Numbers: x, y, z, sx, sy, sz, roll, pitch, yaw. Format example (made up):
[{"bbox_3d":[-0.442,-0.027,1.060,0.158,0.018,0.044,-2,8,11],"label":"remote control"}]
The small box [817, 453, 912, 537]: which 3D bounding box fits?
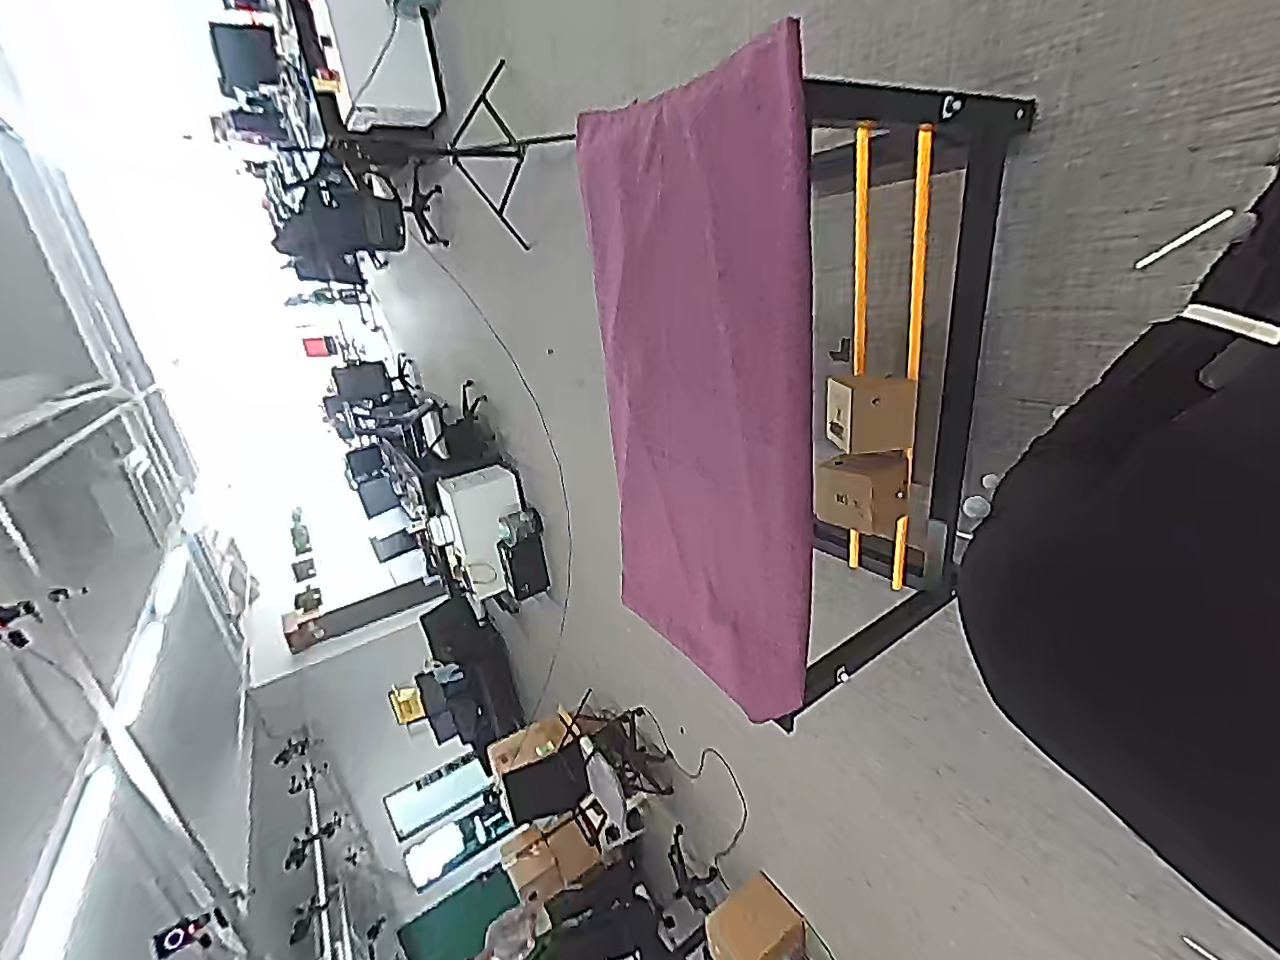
[{"bbox_3d":[0.608,0.033,1.472,0.179,0.176,0.168,19,123,53],"label":"small box"}]
